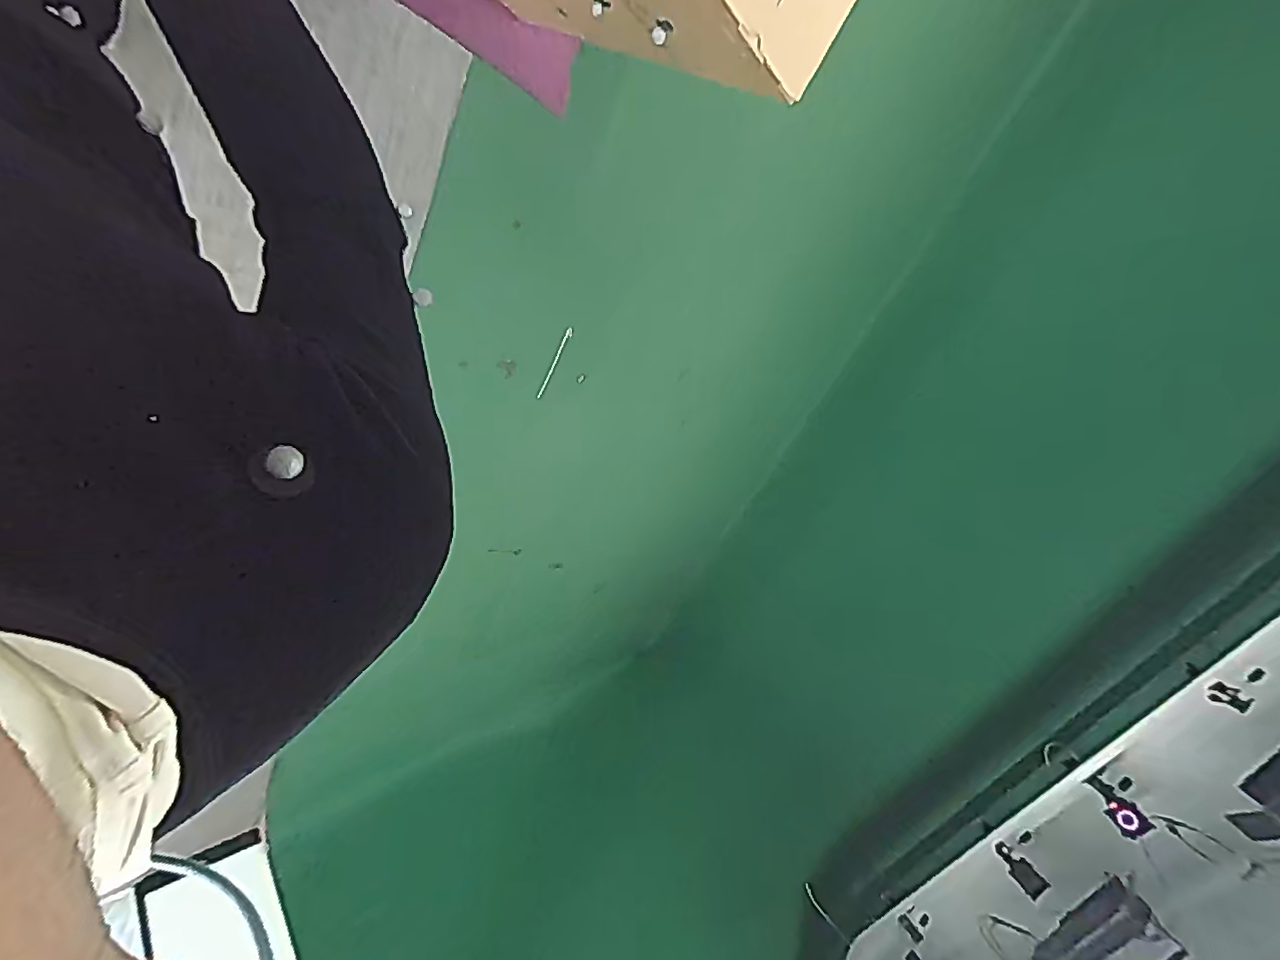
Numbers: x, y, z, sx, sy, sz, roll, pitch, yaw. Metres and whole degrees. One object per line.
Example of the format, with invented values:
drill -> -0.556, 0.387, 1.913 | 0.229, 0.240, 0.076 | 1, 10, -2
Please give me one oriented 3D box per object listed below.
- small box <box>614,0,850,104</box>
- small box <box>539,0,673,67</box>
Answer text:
small box -> 0.079, -0.463, 0.442 | 0.168, 0.176, 0.179 | 5, 123, -52
small box -> -0.024, -0.560, 0.527 | 0.168, 0.176, 0.179 | 4, 123, -51
